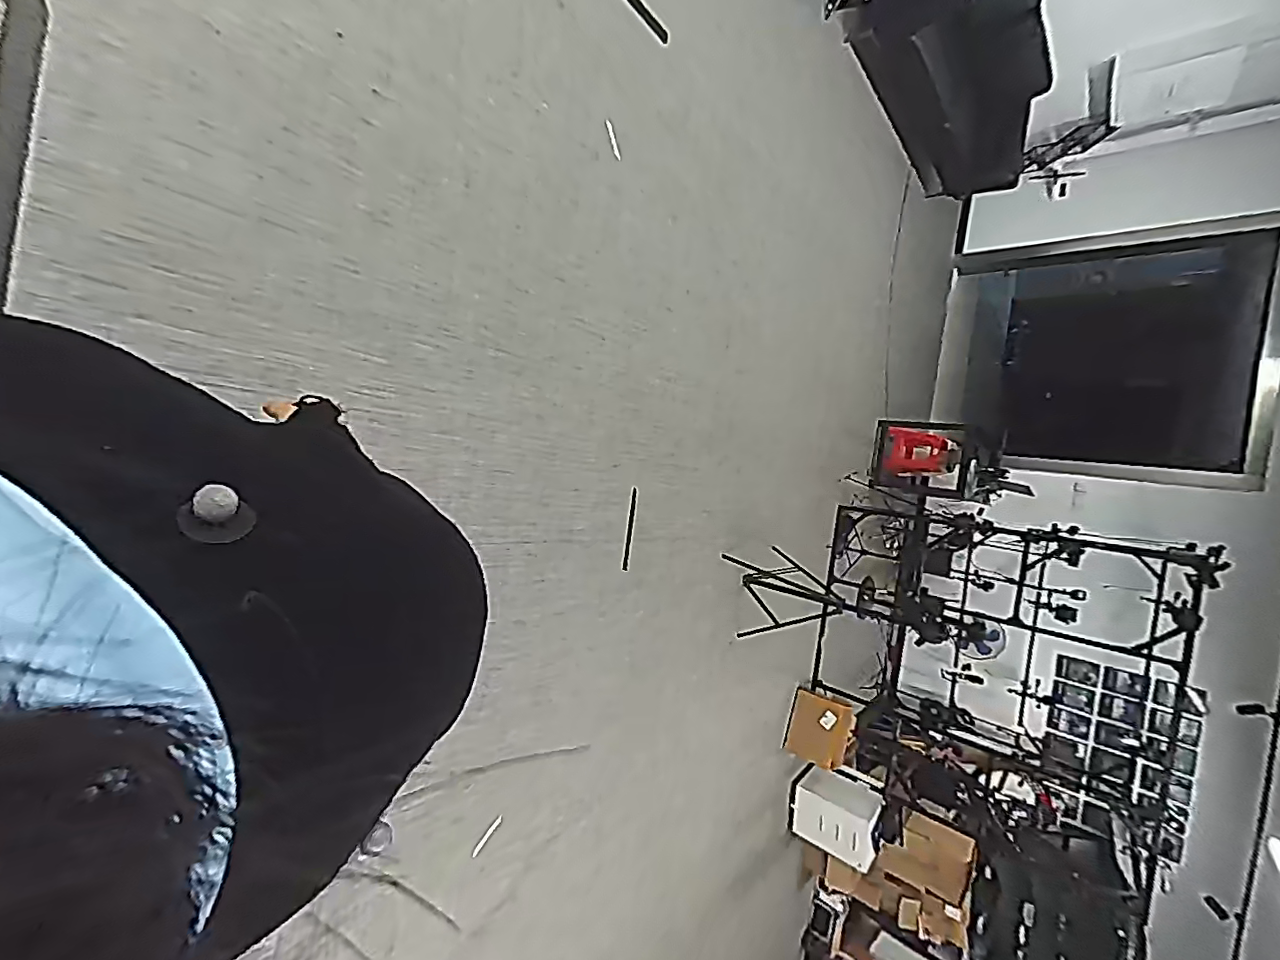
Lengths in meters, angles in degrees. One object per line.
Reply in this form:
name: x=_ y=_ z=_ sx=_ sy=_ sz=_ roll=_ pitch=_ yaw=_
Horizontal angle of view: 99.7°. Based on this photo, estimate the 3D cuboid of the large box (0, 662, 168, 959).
large box: x=-0.992 y=0.513 z=0.809 sx=0.408 sy=0.320 sz=0.320 roll=1 pitch=94 yaw=-49
